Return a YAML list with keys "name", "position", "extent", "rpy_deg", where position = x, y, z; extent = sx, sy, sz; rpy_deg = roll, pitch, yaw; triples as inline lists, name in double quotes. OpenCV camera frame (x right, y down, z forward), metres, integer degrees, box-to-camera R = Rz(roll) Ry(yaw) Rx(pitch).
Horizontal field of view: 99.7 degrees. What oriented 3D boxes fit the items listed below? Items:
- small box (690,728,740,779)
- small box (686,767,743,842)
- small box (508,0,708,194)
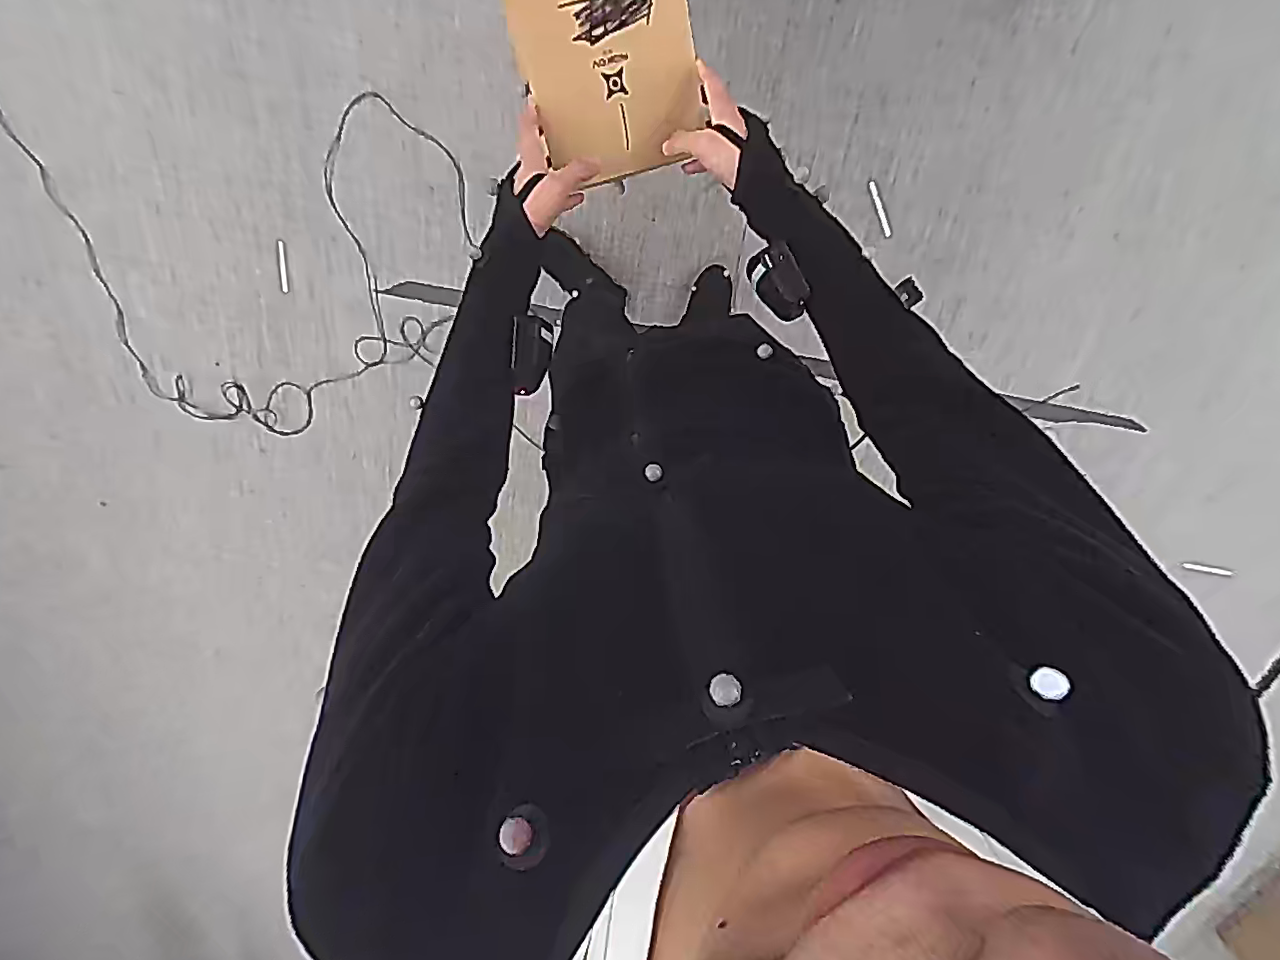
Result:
- name: "small box"
  position: [0.288, 1.102, 2.104]
  extent: [0.168, 0.176, 0.179]
  rpy_deg: [6, 114, 1]
- name: "small box"
  position: [0.263, 1.170, 1.956]
  extent: [0.179, 0.176, 0.168]
  rpy_deg: [5, 115, 1]
- name: "small box"
  position: [-0.038, -0.430, 0.593]
  extent: [0.168, 0.176, 0.179]
  rpy_deg: [-16, 118, -1]
